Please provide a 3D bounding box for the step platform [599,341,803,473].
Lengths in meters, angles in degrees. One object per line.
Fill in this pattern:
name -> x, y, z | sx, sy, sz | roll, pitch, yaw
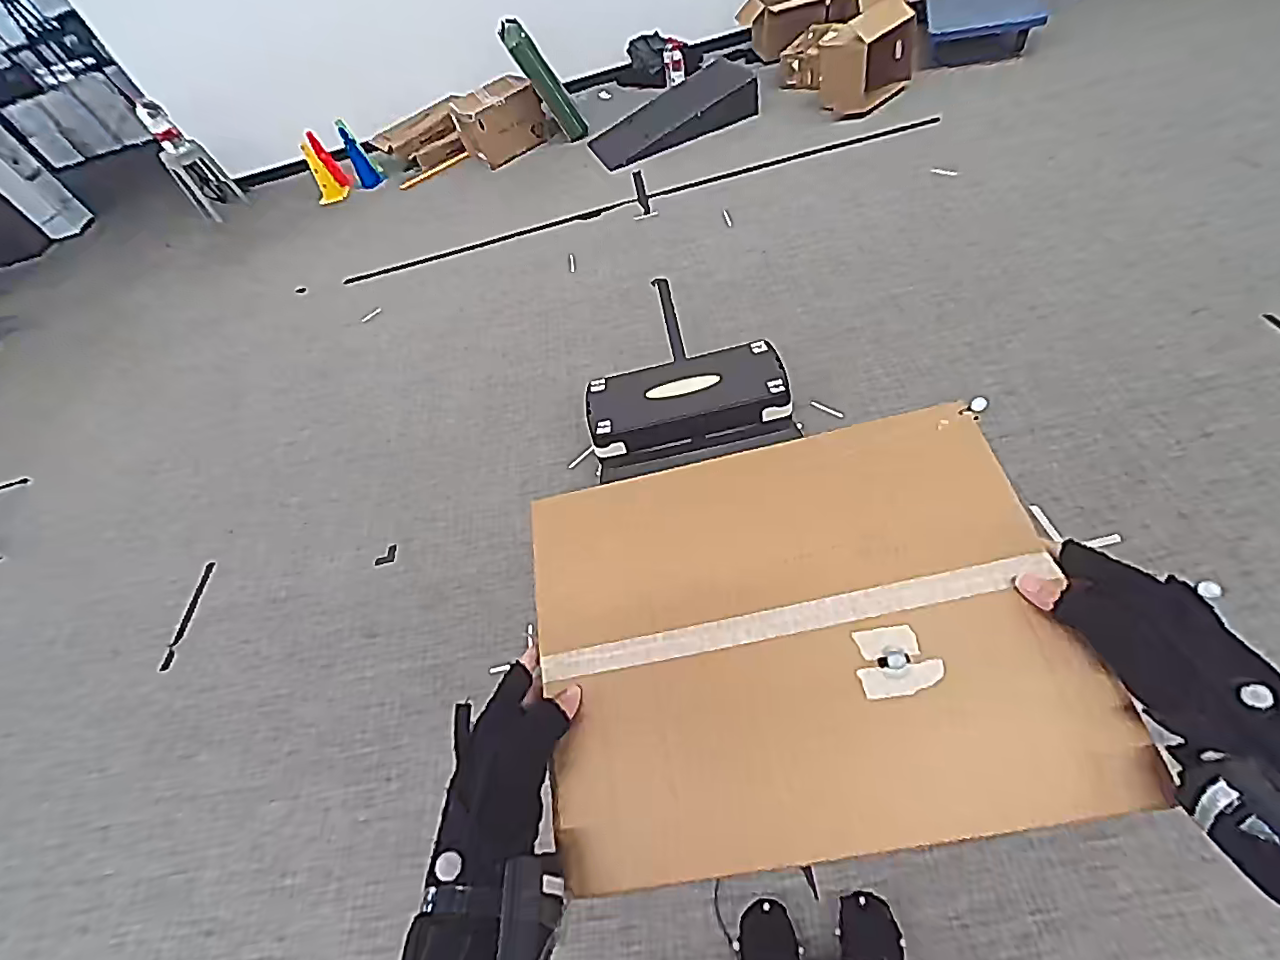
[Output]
step platform -> 0.199, -0.255, 1.860 | 0.684, 0.204, 0.286 | -13, 52, 4

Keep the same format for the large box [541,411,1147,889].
large box -> 0.146, 0.182, 0.571 | 0.408, 0.320, 0.320 | -14, 62, 6
